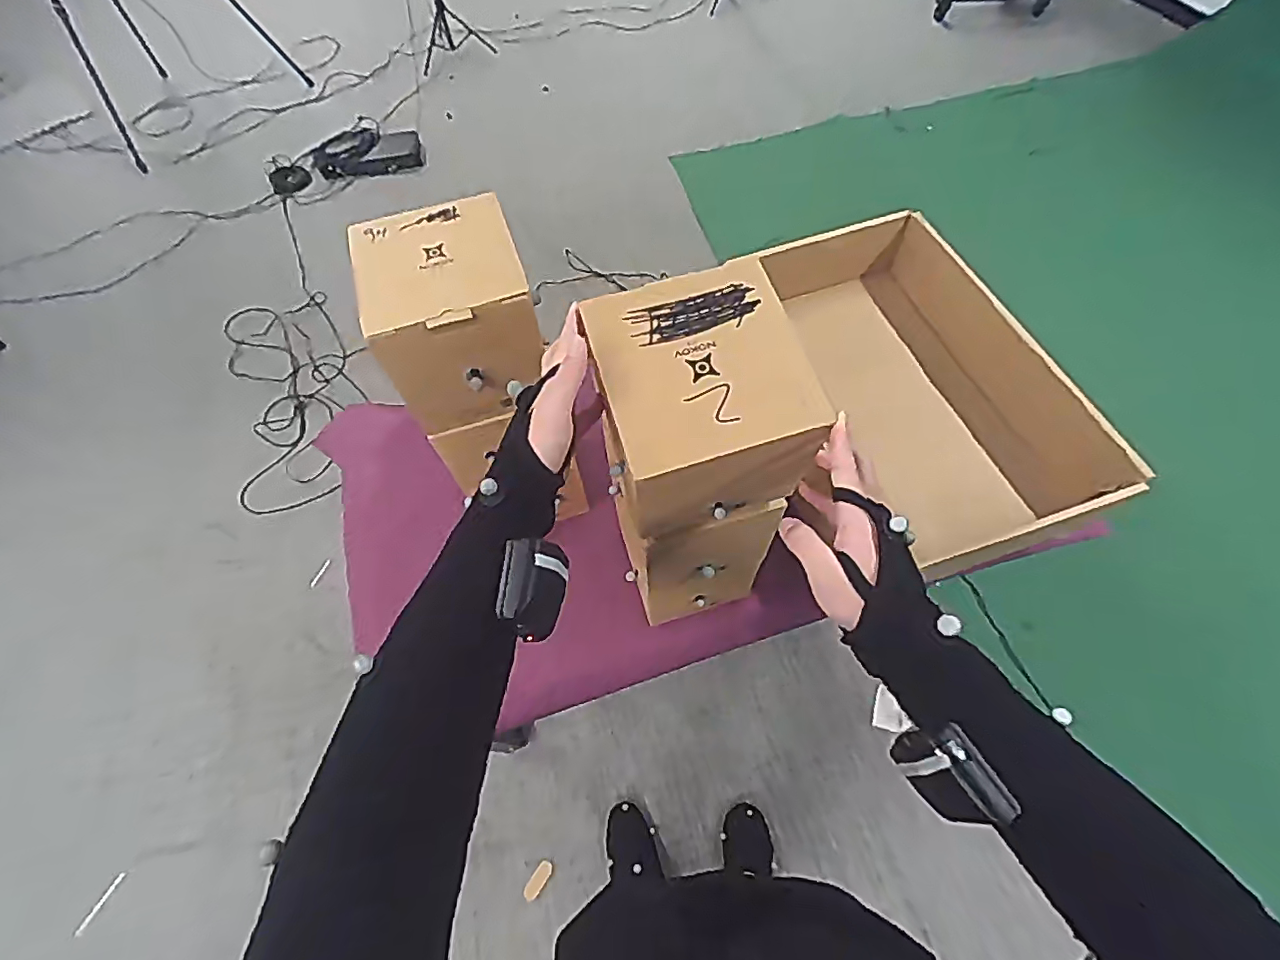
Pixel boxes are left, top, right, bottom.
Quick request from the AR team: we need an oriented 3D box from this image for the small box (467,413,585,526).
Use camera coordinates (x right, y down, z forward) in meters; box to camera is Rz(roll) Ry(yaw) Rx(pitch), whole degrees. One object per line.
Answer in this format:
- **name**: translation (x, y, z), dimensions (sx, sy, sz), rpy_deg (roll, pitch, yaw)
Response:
- **small box**: translation (-0.197, -0.038, 0.912), dimensions (0.168, 0.176, 0.179), rpy_deg (-16, 63, -7)

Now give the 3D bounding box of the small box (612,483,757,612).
- **small box**: translation (0.063, 0.091, 0.828), dimensions (0.168, 0.176, 0.179), rpy_deg (-16, 62, -6)

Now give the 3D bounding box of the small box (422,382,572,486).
- **small box**: translation (-0.203, -0.109, 0.767), dimensions (0.168, 0.176, 0.179), rpy_deg (-17, 62, -7)

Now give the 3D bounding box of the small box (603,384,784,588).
- **small box**: translation (0.058, 0.013, 0.684), dimensions (0.168, 0.176, 0.179), rpy_deg (-16, 63, -5)

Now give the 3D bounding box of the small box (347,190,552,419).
- **small box**: translation (-0.209, -0.190, 0.624), dimensions (0.168, 0.176, 0.179), rpy_deg (-17, 63, -7)
